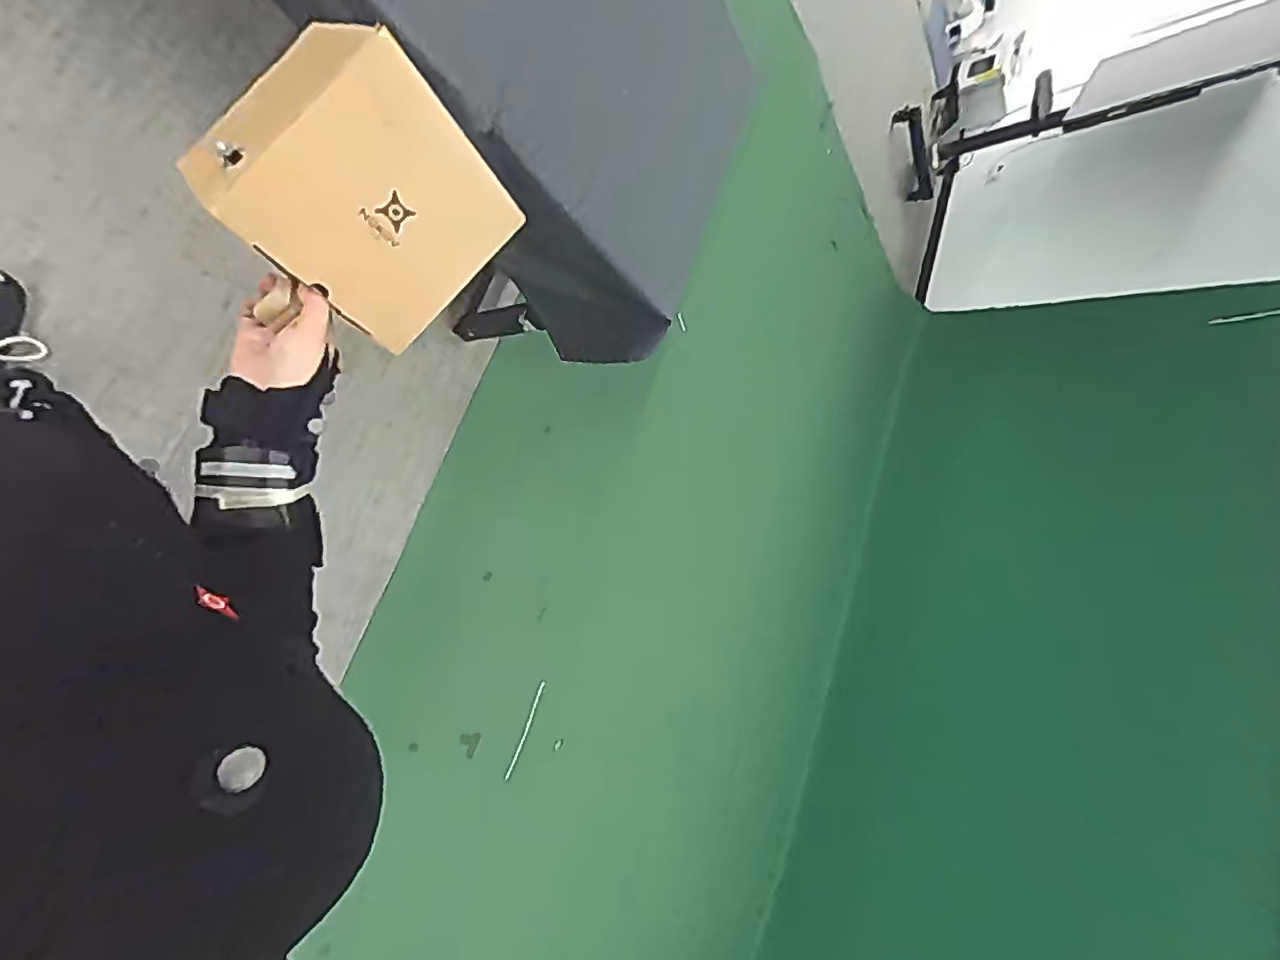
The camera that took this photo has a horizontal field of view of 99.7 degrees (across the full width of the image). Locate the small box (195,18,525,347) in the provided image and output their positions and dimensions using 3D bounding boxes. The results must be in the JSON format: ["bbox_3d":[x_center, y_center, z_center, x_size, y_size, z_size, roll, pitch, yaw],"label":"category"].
[{"bbox_3d":[-0.243,-0.259,0.472,0.179,0.176,0.168,-48,145,-1],"label":"small box"}]
